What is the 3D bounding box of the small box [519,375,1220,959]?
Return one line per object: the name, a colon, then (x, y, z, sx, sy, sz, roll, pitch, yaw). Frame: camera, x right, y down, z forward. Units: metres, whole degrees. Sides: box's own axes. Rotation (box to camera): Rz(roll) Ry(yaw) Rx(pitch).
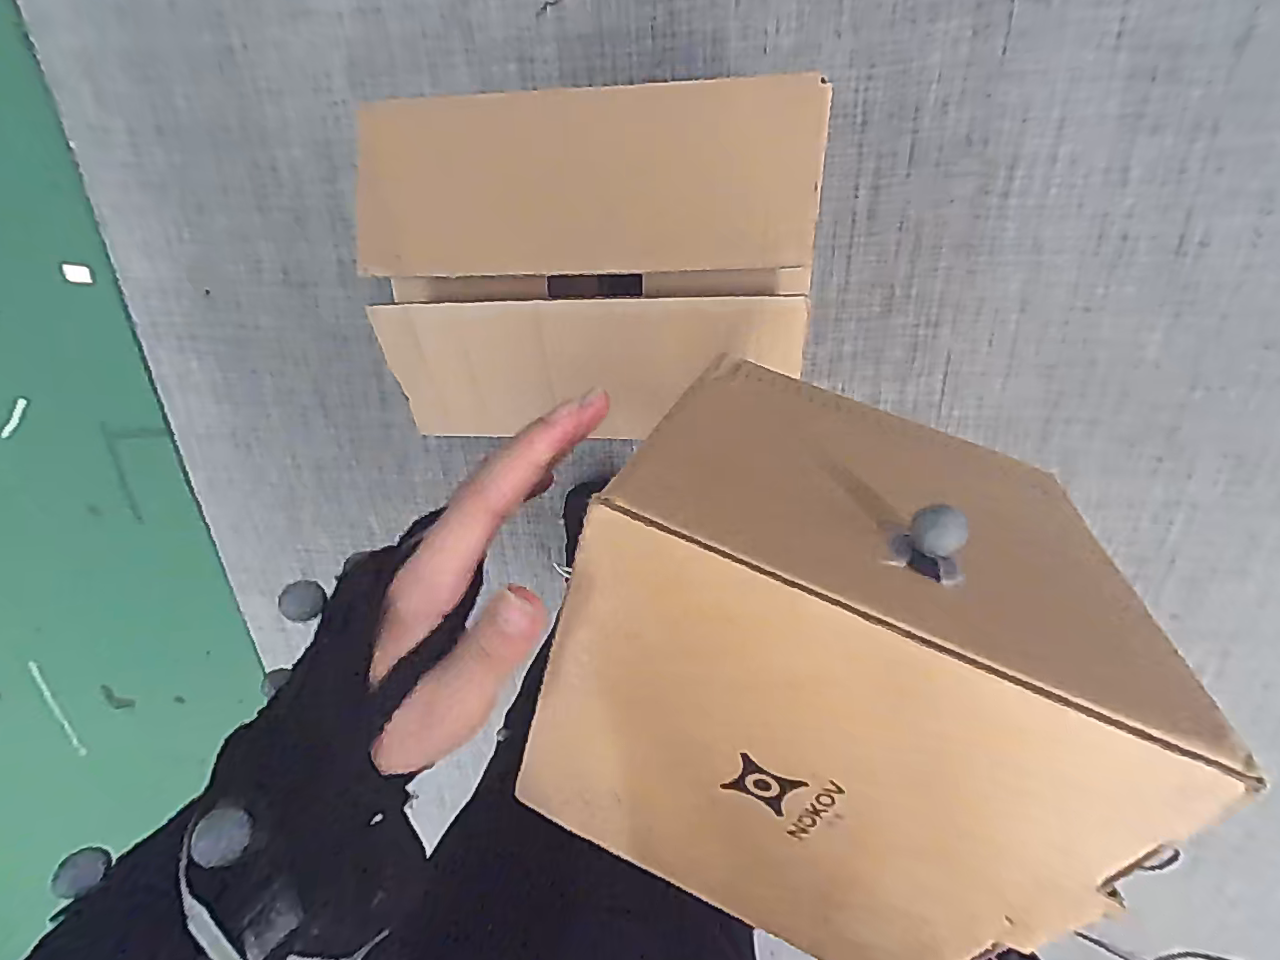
small box: (0.071, 0.065, 0.255, 0.179, 0.176, 0.168, 22, 122, 8)
